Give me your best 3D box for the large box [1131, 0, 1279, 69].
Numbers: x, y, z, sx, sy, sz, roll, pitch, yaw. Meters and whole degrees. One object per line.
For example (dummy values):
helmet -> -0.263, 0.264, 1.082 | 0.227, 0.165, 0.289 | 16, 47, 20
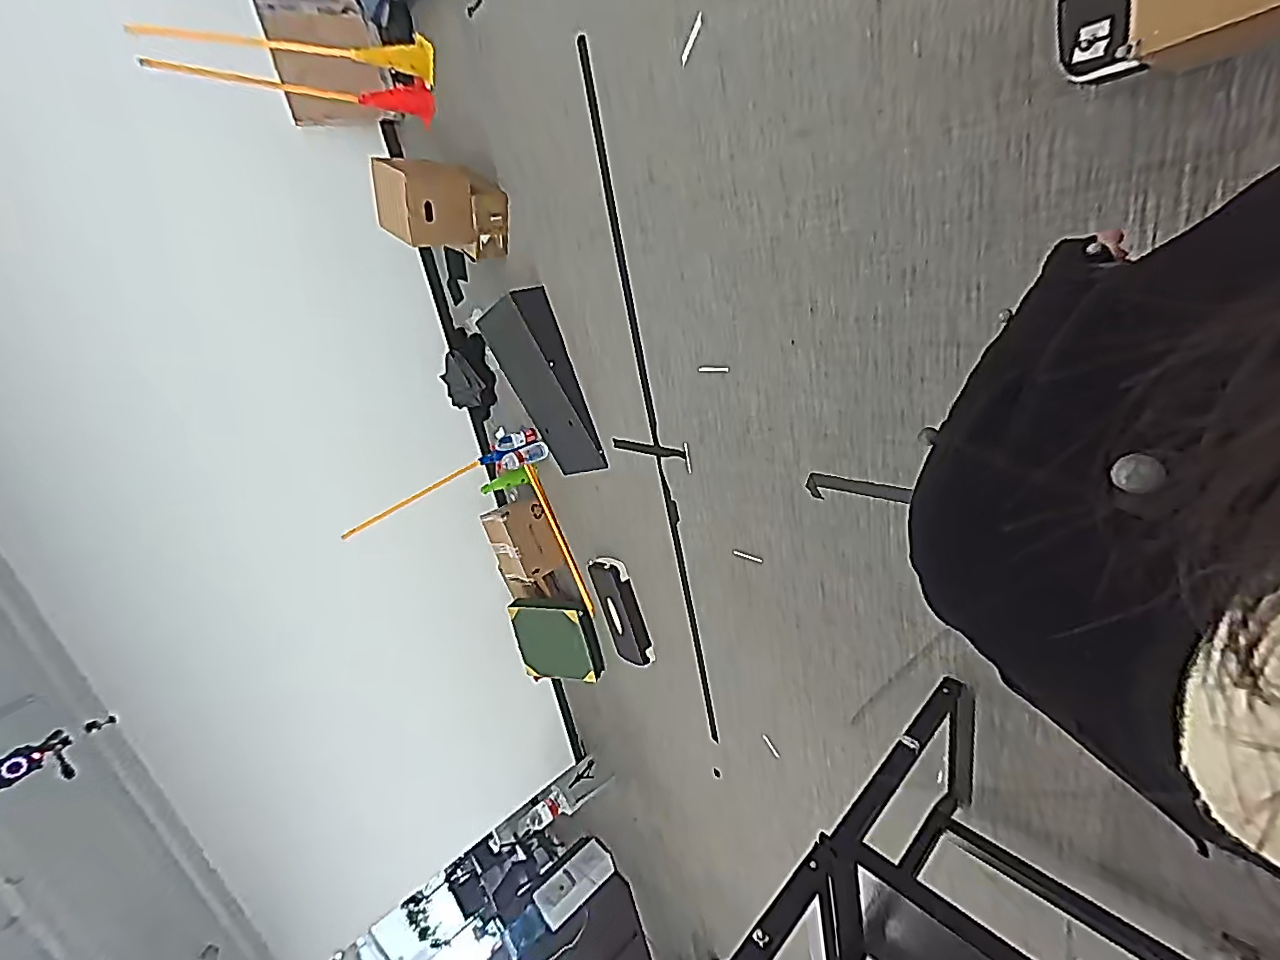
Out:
large box -> 0.817, -0.698, 0.558 | 0.408, 0.320, 0.320 | 11, 119, 51
